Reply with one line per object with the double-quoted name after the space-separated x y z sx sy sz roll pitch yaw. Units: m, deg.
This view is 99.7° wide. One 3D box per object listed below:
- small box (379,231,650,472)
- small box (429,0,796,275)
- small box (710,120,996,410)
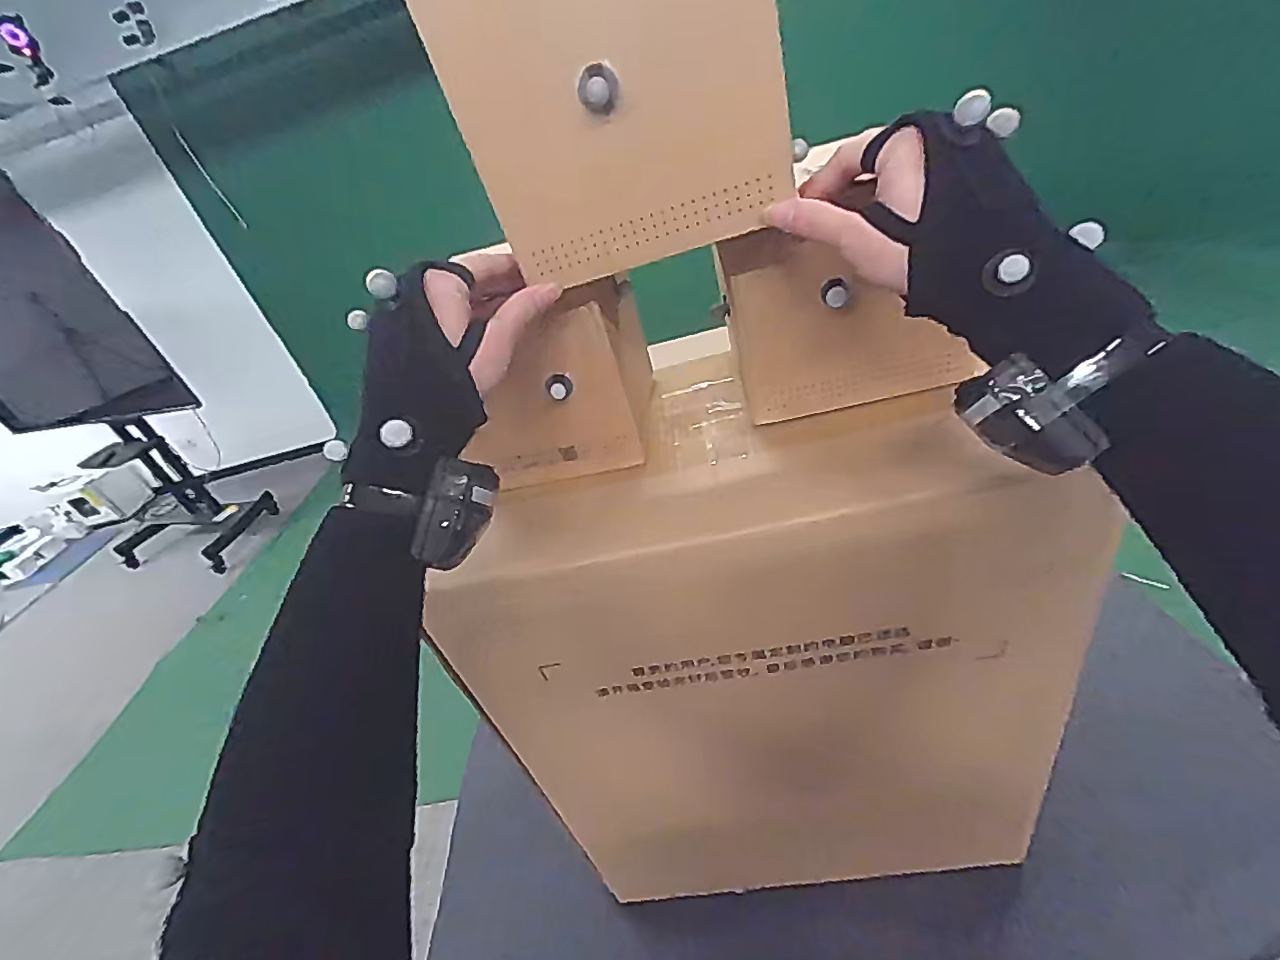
-0.087 -0.119 0.484 0.168 0.176 0.179 -9 35 9 "small box"
-0.005 -0.257 0.349 0.179 0.176 0.168 -13 35 10 "small box"
0.162 -0.178 0.455 0.179 0.176 0.168 -13 35 9 "small box"
